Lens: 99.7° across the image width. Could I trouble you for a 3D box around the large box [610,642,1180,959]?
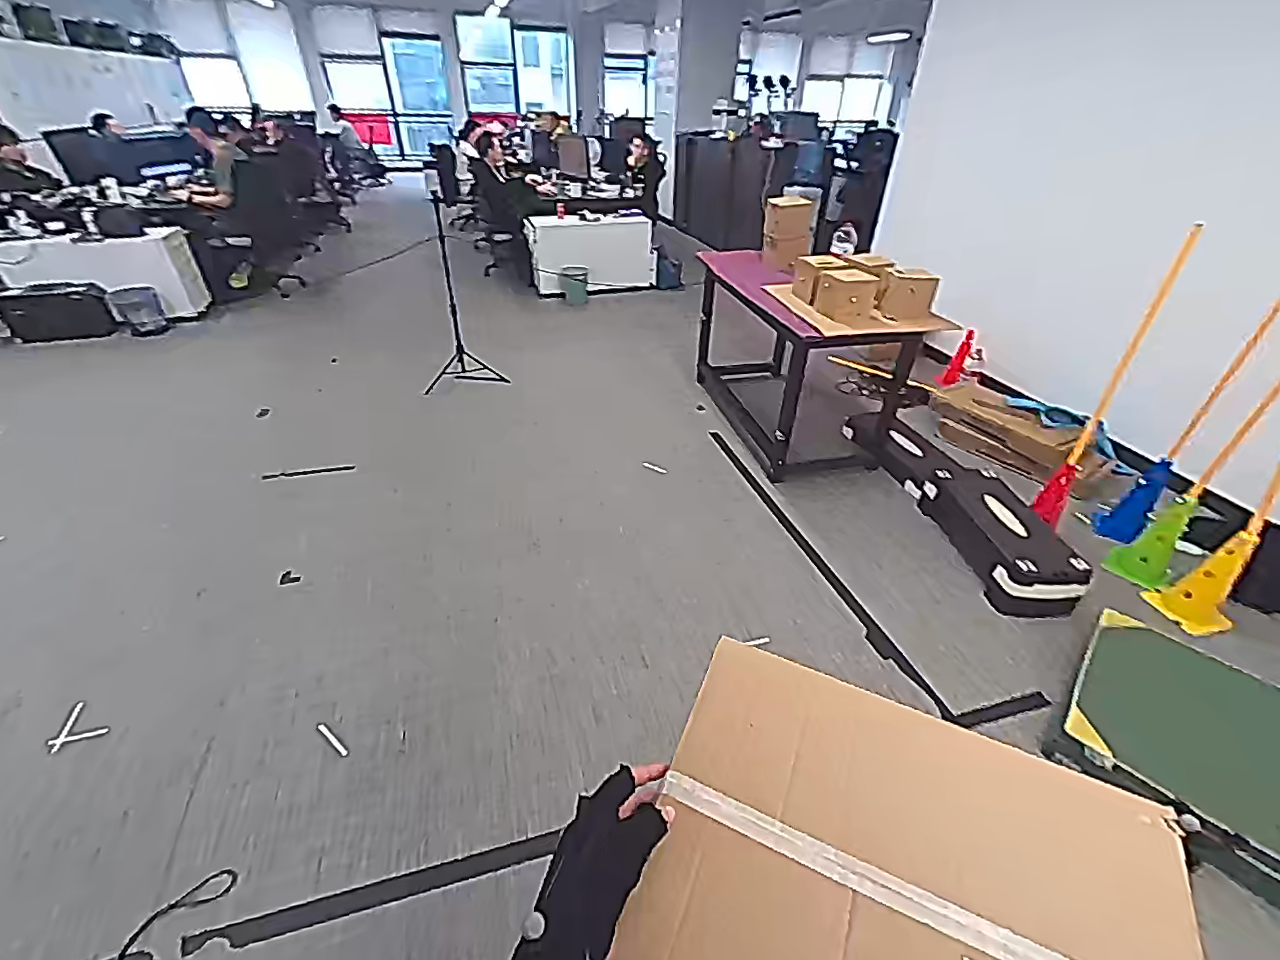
[{"bbox_3d":[0.216,0.435,0.556,0.408,0.320,0.320,18,51,18],"label":"large box"}]
